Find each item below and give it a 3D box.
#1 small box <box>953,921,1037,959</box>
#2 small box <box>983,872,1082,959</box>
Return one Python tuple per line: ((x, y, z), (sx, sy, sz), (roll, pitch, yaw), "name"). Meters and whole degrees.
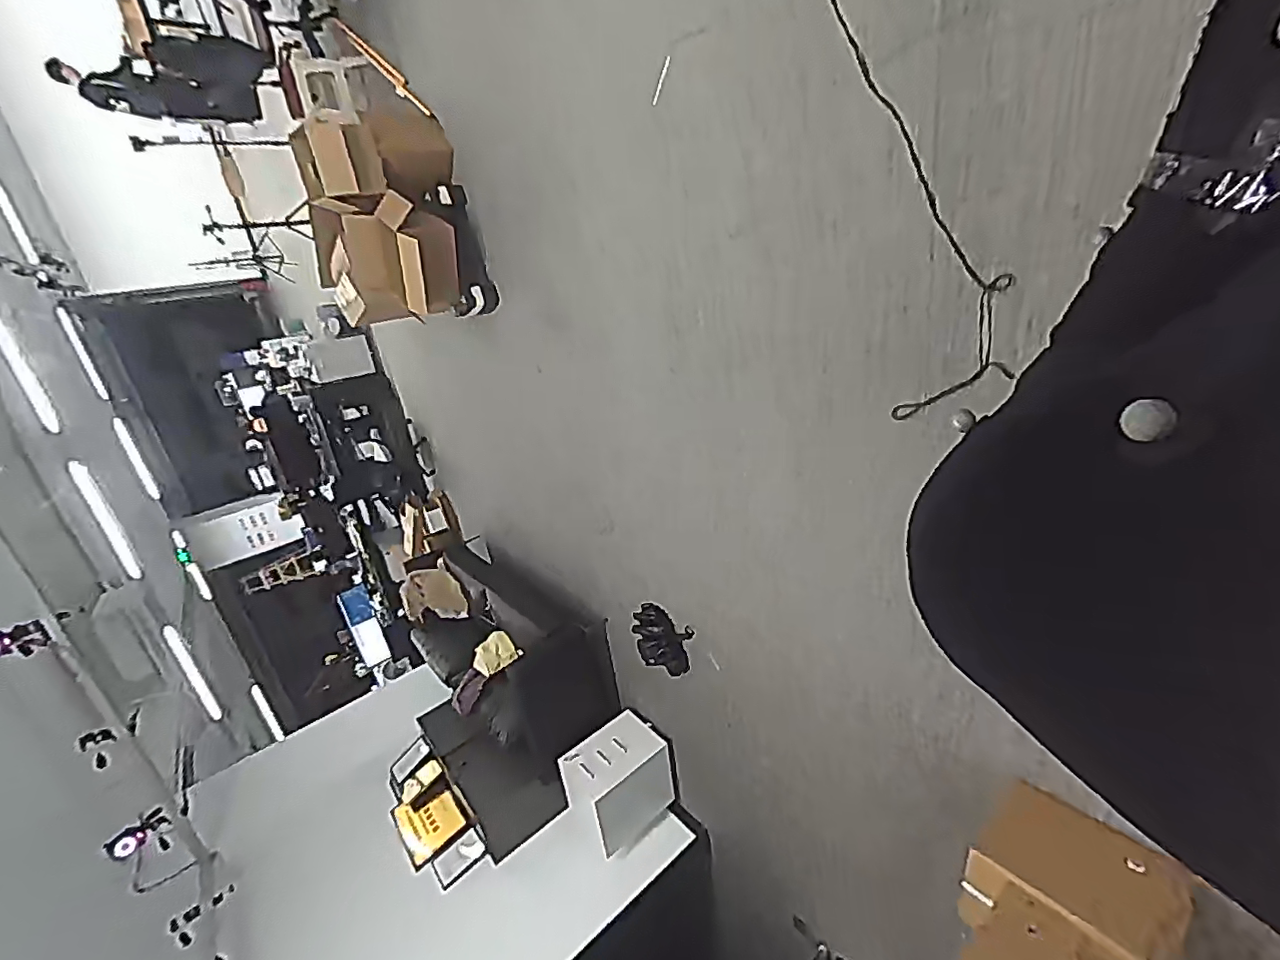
((0.828, 1.180, 1.250), (0.179, 0.176, 0.168), (24, 128, 44), "small box")
((0.961, 1.134, 1.338), (0.168, 0.176, 0.179), (21, 125, 47), "small box")
